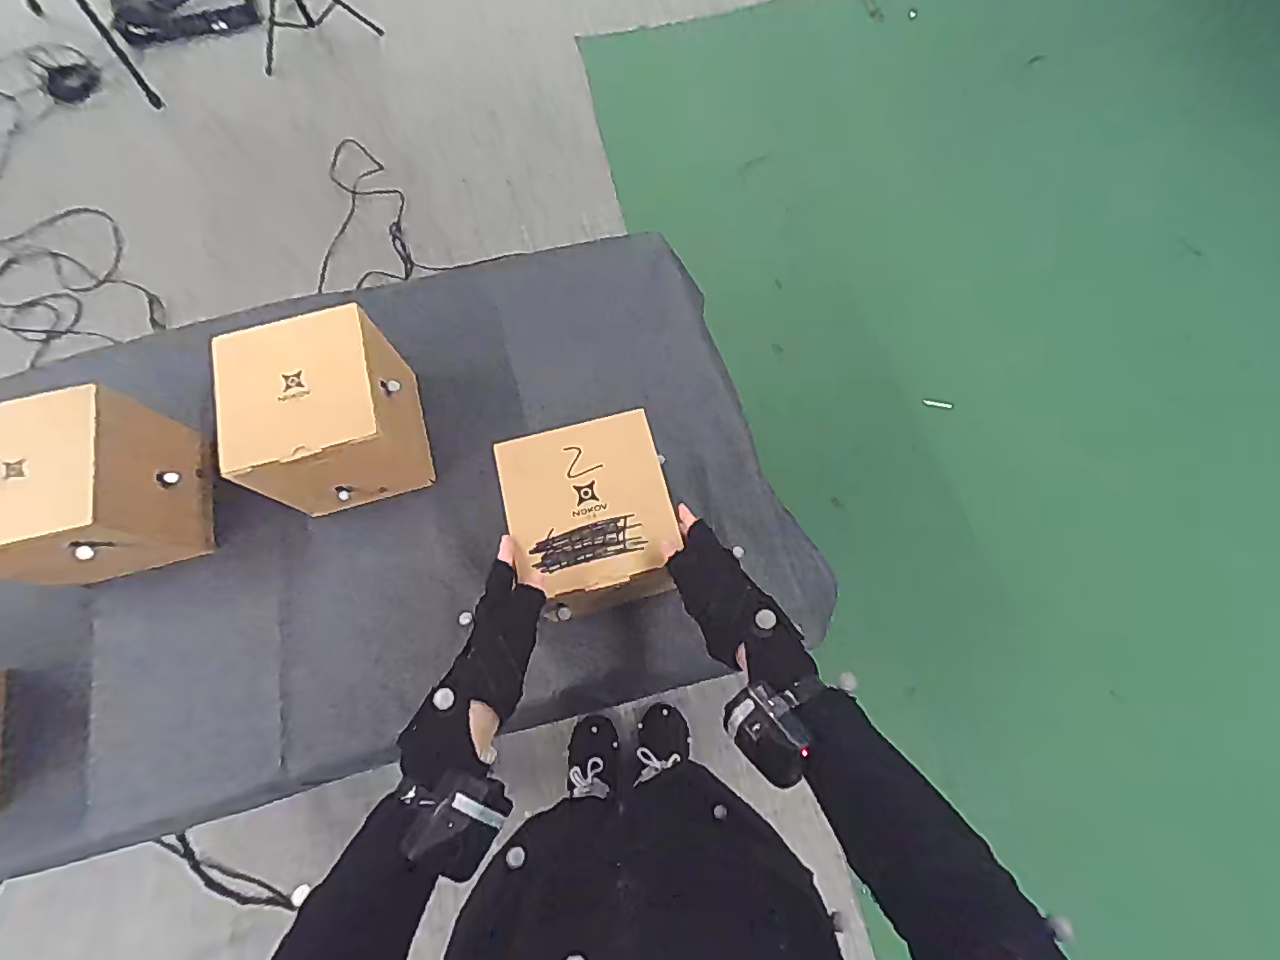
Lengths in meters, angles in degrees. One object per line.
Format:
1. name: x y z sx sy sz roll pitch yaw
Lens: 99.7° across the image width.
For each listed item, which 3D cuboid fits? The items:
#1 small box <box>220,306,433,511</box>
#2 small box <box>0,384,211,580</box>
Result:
1. small box: -0.375 -0.079 0.670 0.168 0.176 0.179 -16 73 -5
2. small box: -0.648 0.012 0.636 0.179 0.176 0.168 -14 73 -5
